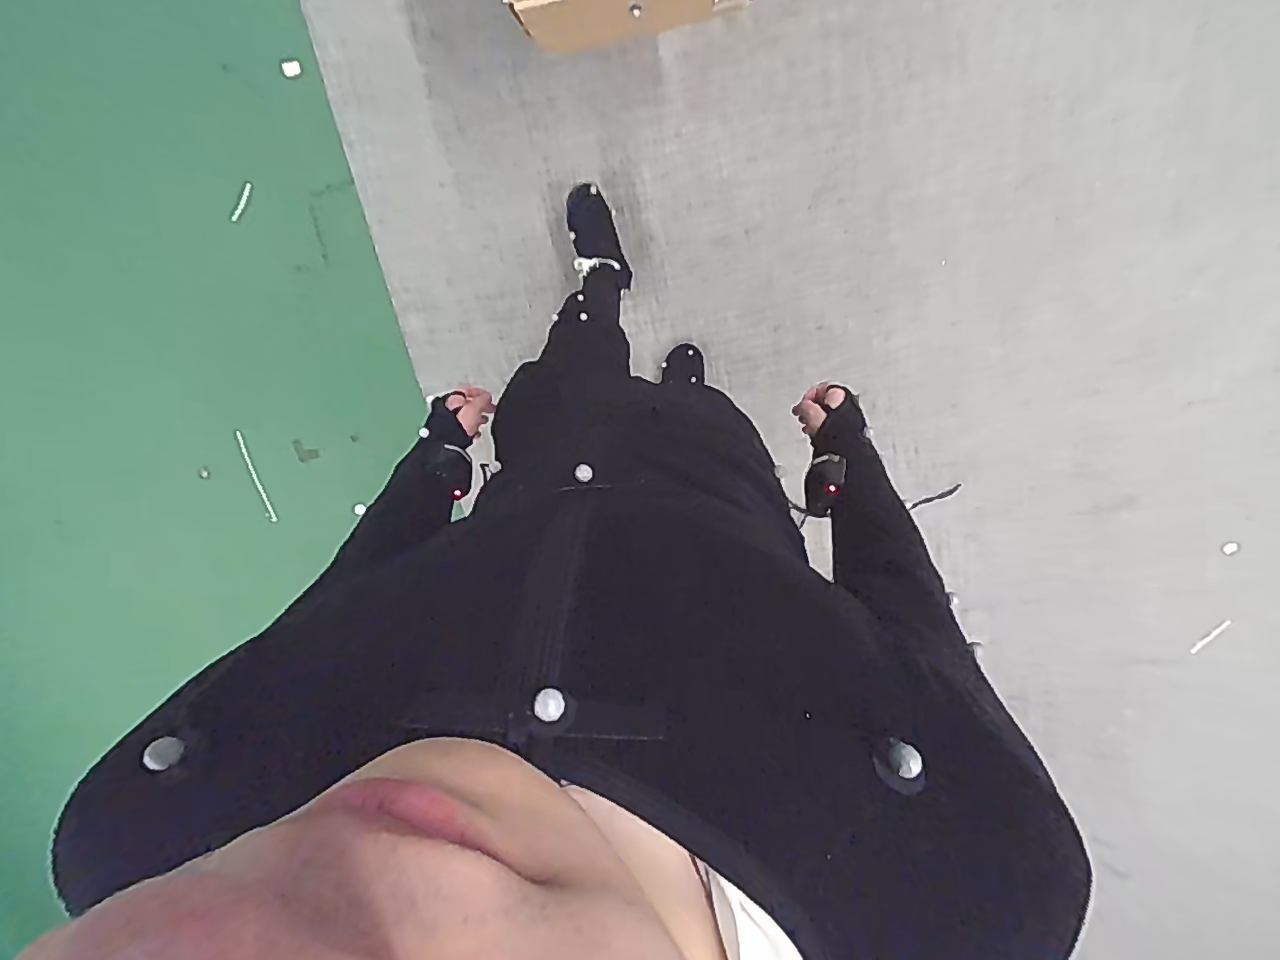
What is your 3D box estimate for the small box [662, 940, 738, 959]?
[{"bbox_3d":[0.142,1.146,1.170,0.168,0.176,0.179,-13,107,9],"label":"small box"}]
